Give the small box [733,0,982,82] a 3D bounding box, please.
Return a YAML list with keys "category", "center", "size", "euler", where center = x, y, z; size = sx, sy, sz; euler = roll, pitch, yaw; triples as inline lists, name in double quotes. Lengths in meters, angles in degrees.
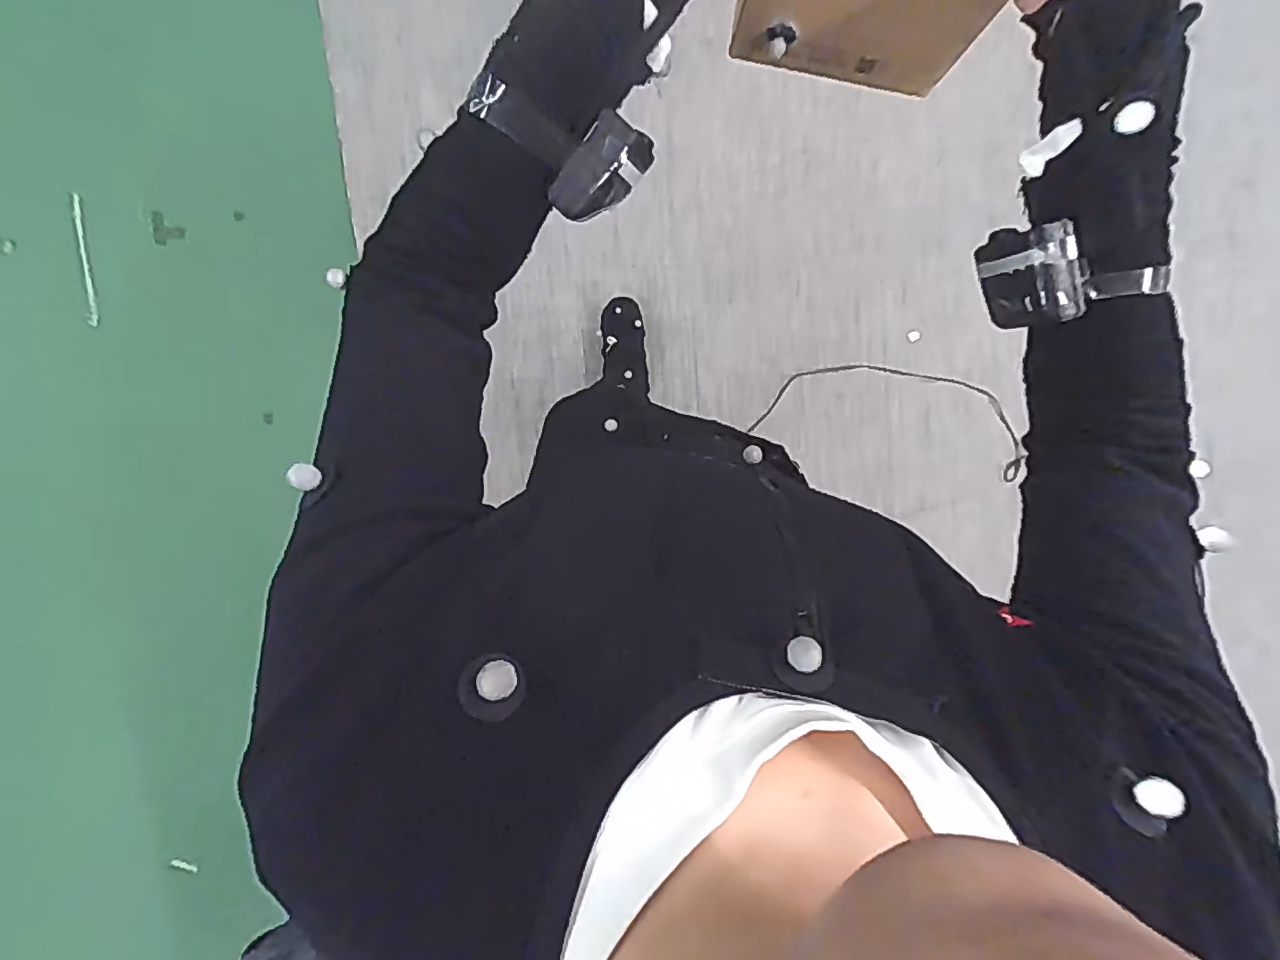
- category: "small box"
  center: [0.165, -0.410, 0.351]
  size: [0.168, 0.176, 0.179]
  euler: [9, 89, -3]
